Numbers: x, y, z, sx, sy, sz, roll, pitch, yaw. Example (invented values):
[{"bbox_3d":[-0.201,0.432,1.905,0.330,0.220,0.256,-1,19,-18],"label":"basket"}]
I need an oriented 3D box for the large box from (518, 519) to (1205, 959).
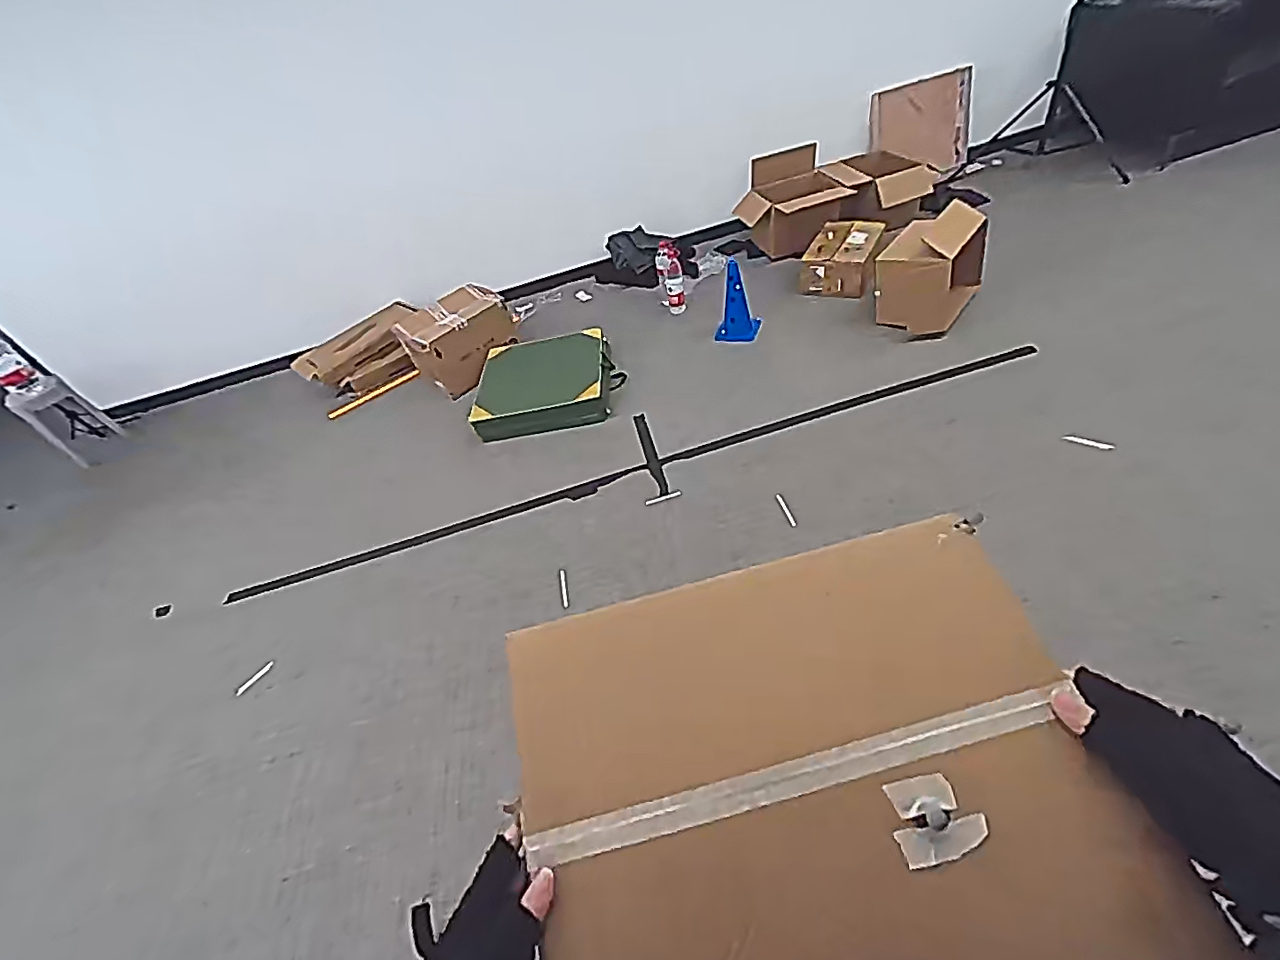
[{"bbox_3d":[0.134,0.289,0.523,0.408,0.320,0.320,-15,58,-3],"label":"large box"}]
